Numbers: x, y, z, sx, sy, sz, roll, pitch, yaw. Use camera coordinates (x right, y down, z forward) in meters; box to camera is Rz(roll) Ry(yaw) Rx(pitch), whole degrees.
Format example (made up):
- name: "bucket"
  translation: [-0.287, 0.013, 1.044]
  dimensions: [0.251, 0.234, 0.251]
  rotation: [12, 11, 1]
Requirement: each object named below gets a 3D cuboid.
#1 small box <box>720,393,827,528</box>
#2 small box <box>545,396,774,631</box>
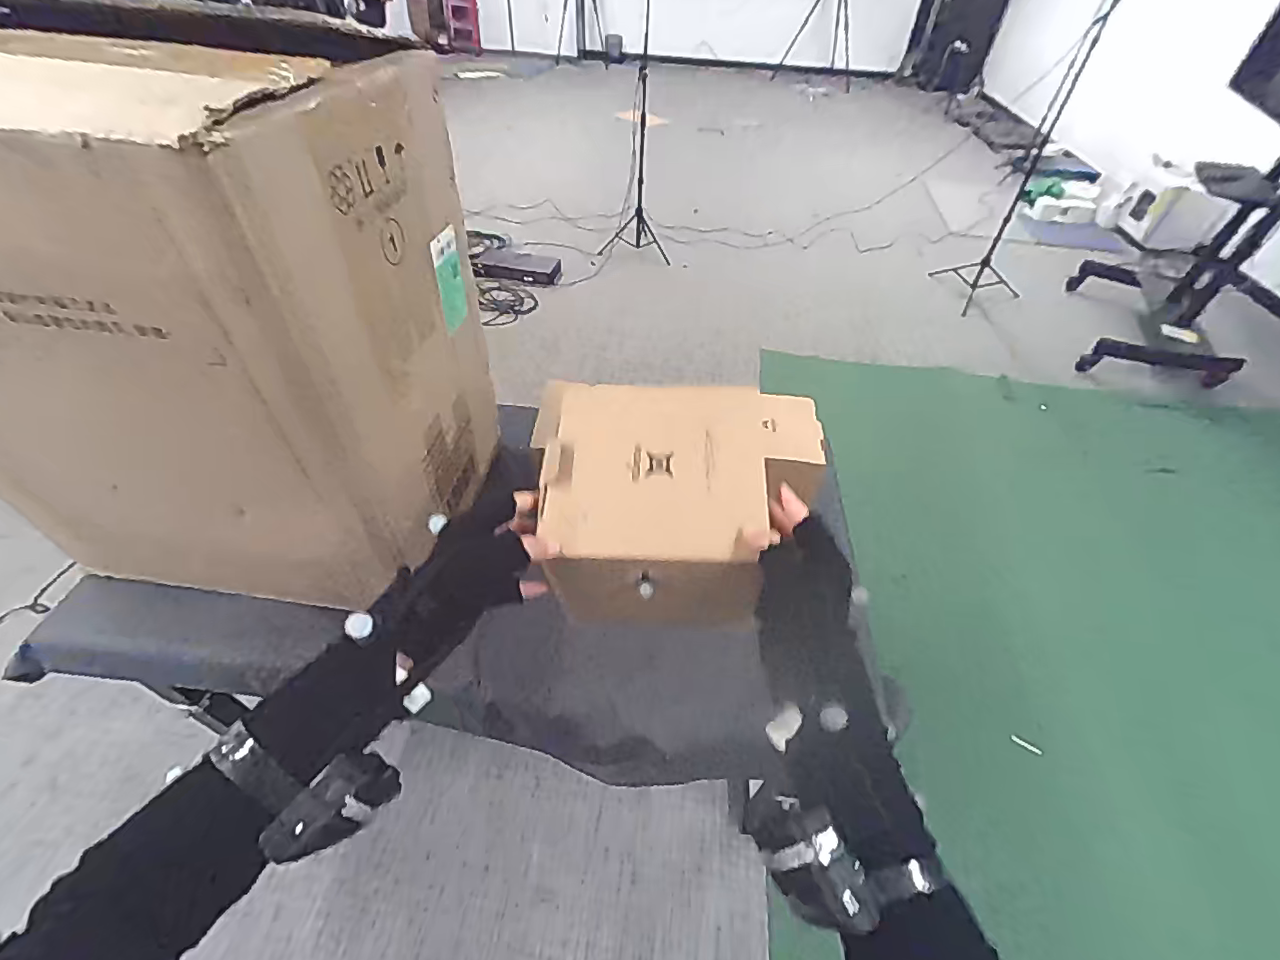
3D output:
- name: "small box"
  translation: [0.214, -0.032, 0.966]
  dimensions: [0.179, 0.176, 0.168]
  rotation: [6, 46, 2]
- name: "small box"
  translation: [0.022, 0.038, 0.513]
  dimensions: [0.179, 0.176, 0.168]
  rotation: [1, 58, 4]
